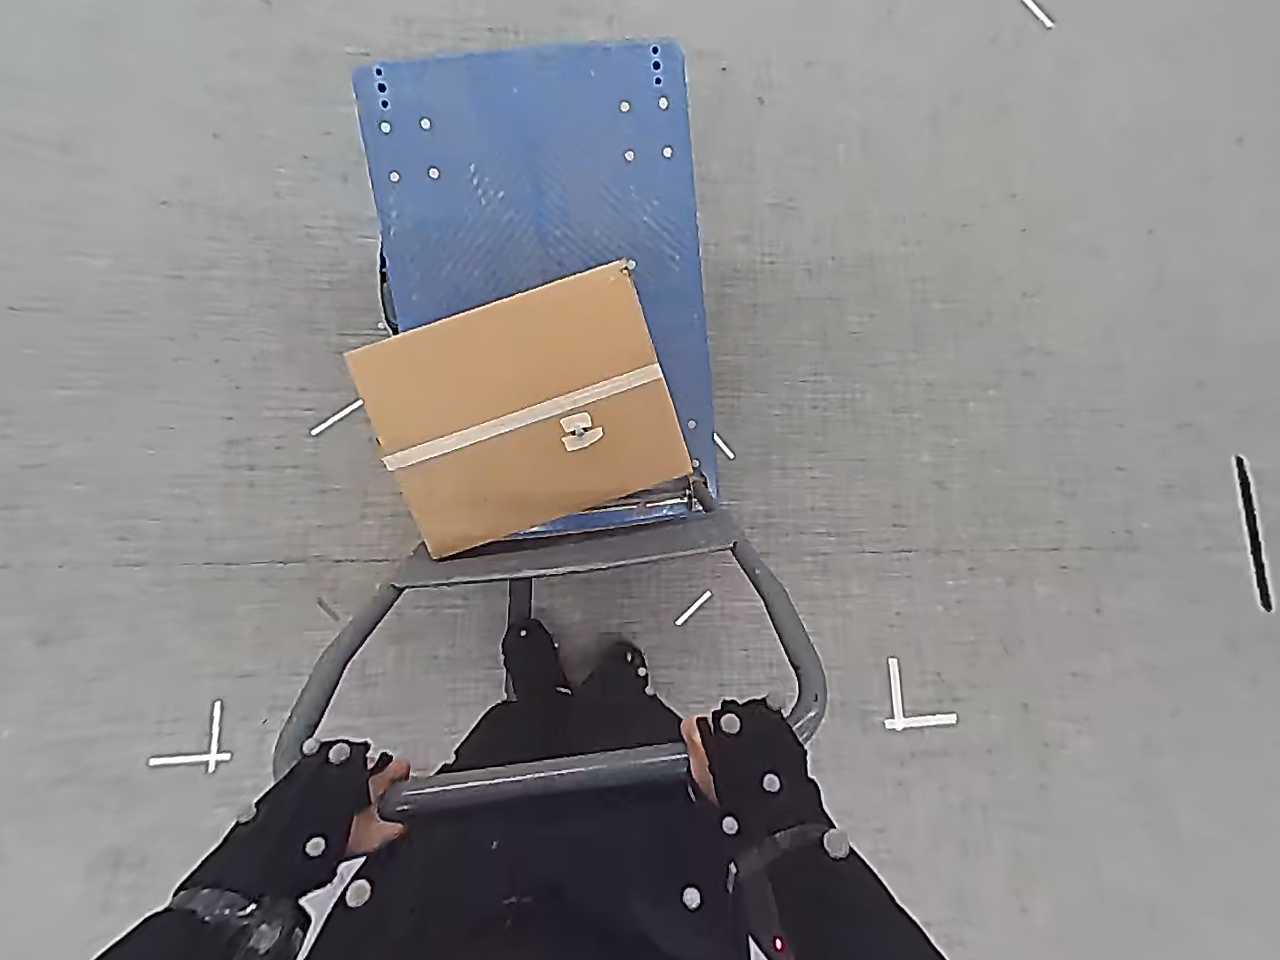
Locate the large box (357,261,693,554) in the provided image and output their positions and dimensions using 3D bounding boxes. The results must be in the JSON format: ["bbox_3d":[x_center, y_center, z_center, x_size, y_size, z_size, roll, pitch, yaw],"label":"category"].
[{"bbox_3d":[-0.168,-0.120,0.912,0.408,0.320,0.320,-19,102,-2],"label":"large box"}]
